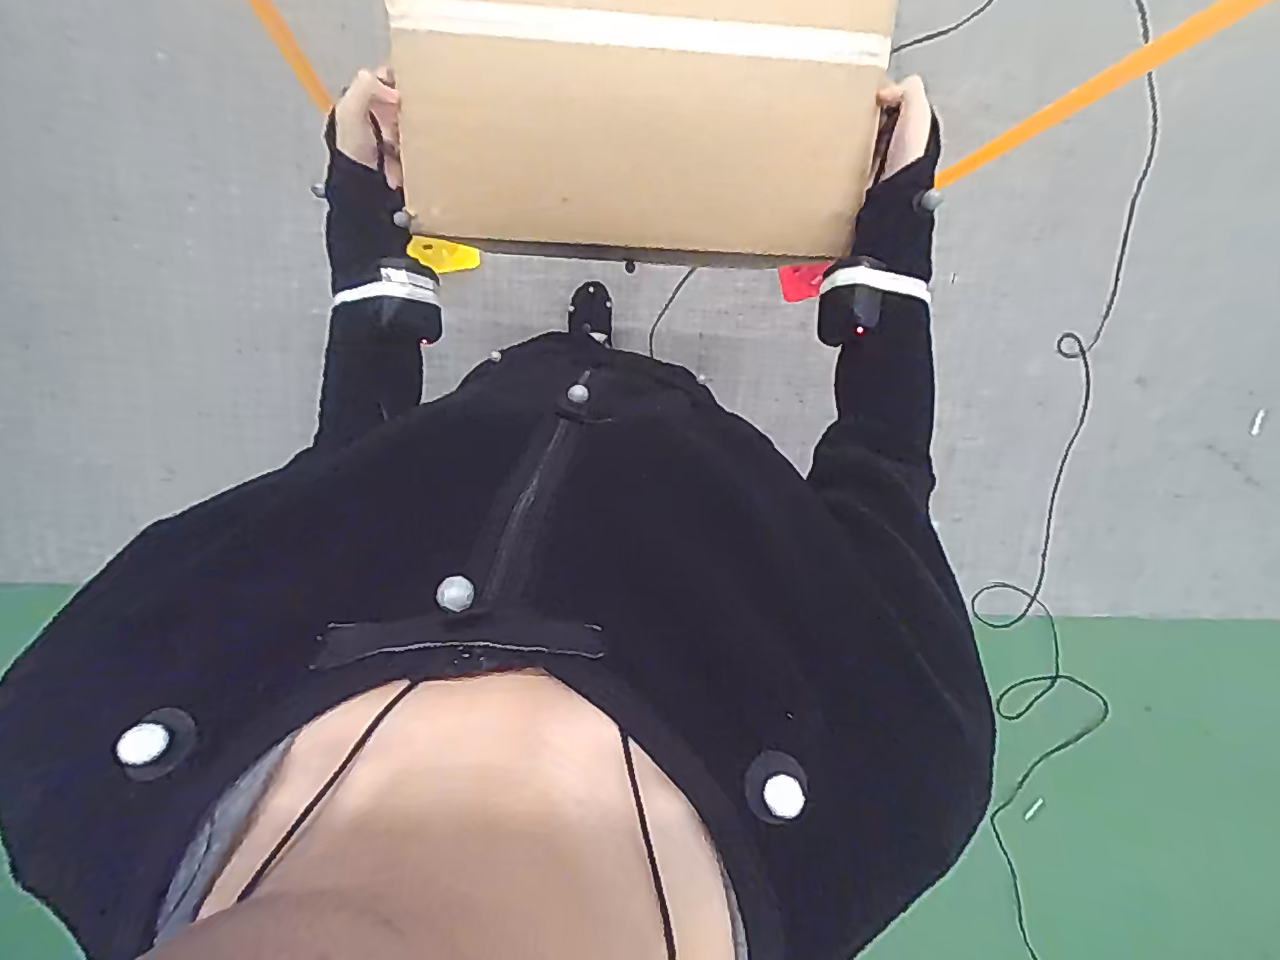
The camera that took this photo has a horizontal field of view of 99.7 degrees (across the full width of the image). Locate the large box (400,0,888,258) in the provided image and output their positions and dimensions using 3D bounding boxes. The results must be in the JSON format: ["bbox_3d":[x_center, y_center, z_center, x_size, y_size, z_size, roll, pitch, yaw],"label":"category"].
[{"bbox_3d":[0.000,-0.415,0.586,0.408,0.320,0.320,2,109,-3],"label":"large box"}]
